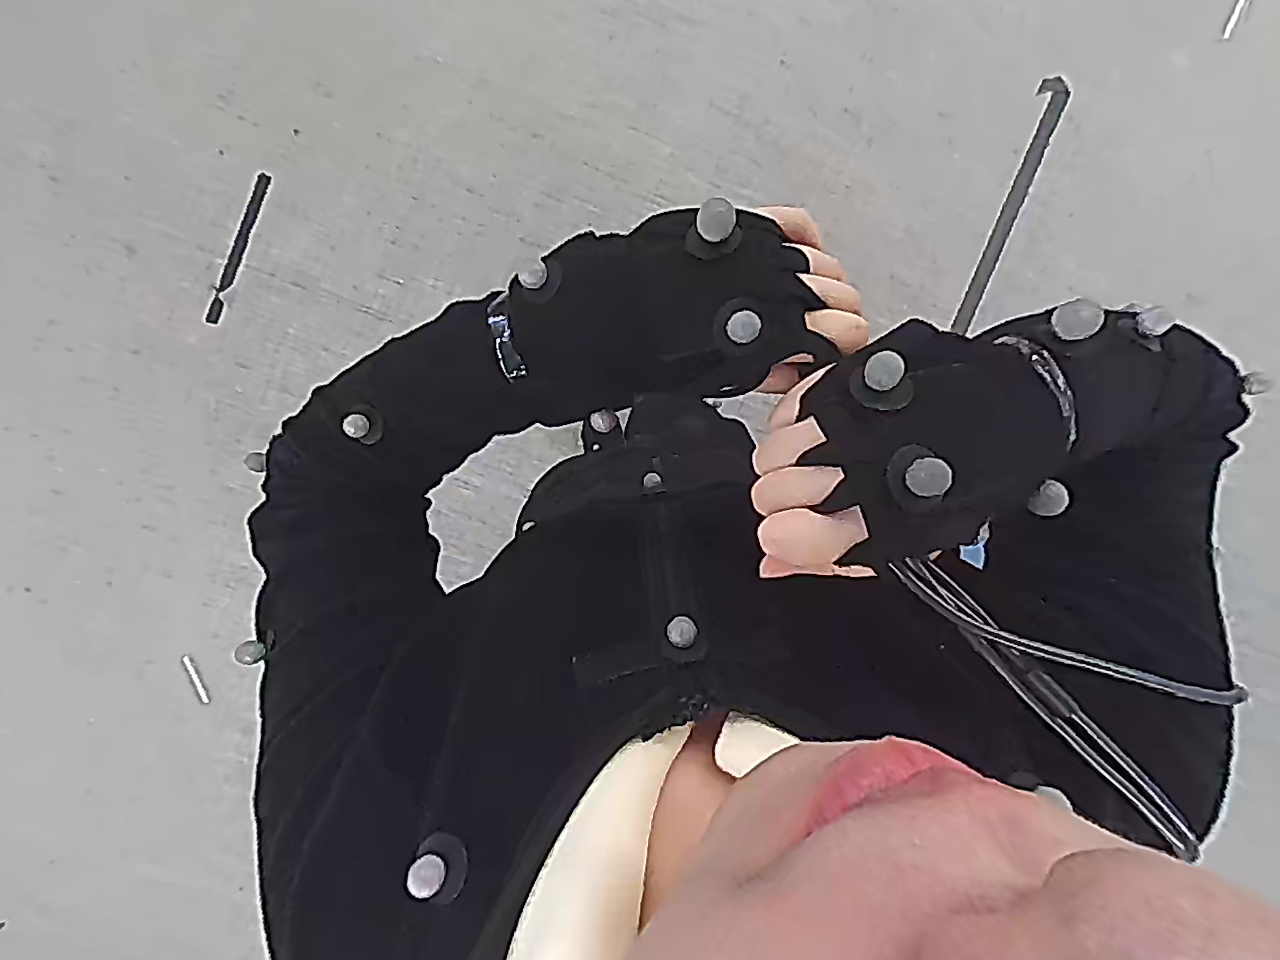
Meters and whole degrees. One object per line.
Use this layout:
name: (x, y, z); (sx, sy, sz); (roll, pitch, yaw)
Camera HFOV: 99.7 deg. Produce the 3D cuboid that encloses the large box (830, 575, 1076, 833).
large box: (0.707, 0.494, 1.270); (0.320, 0.320, 0.408); (-22, 97, -2)
